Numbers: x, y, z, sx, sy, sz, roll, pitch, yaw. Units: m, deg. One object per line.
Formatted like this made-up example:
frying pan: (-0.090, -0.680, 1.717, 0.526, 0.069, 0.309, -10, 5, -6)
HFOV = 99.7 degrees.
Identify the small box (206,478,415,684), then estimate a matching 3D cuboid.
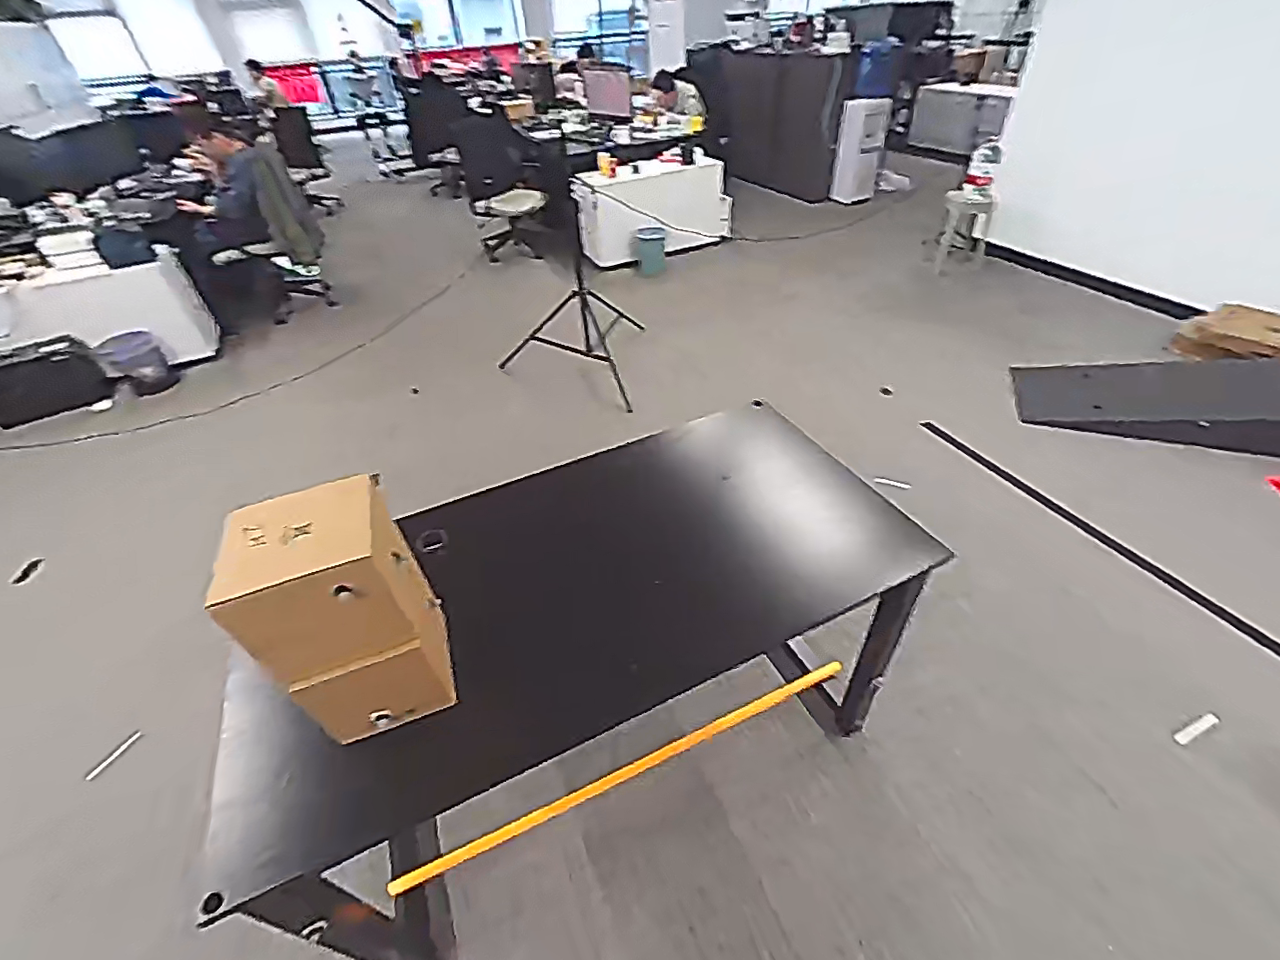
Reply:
small box: (-0.406, 0.130, 0.705, 0.179, 0.176, 0.168, -18, 42, -14)

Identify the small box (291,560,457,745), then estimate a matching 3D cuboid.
small box: (-0.388, 0.256, 0.810, 0.168, 0.176, 0.179, -18, 44, -14)
